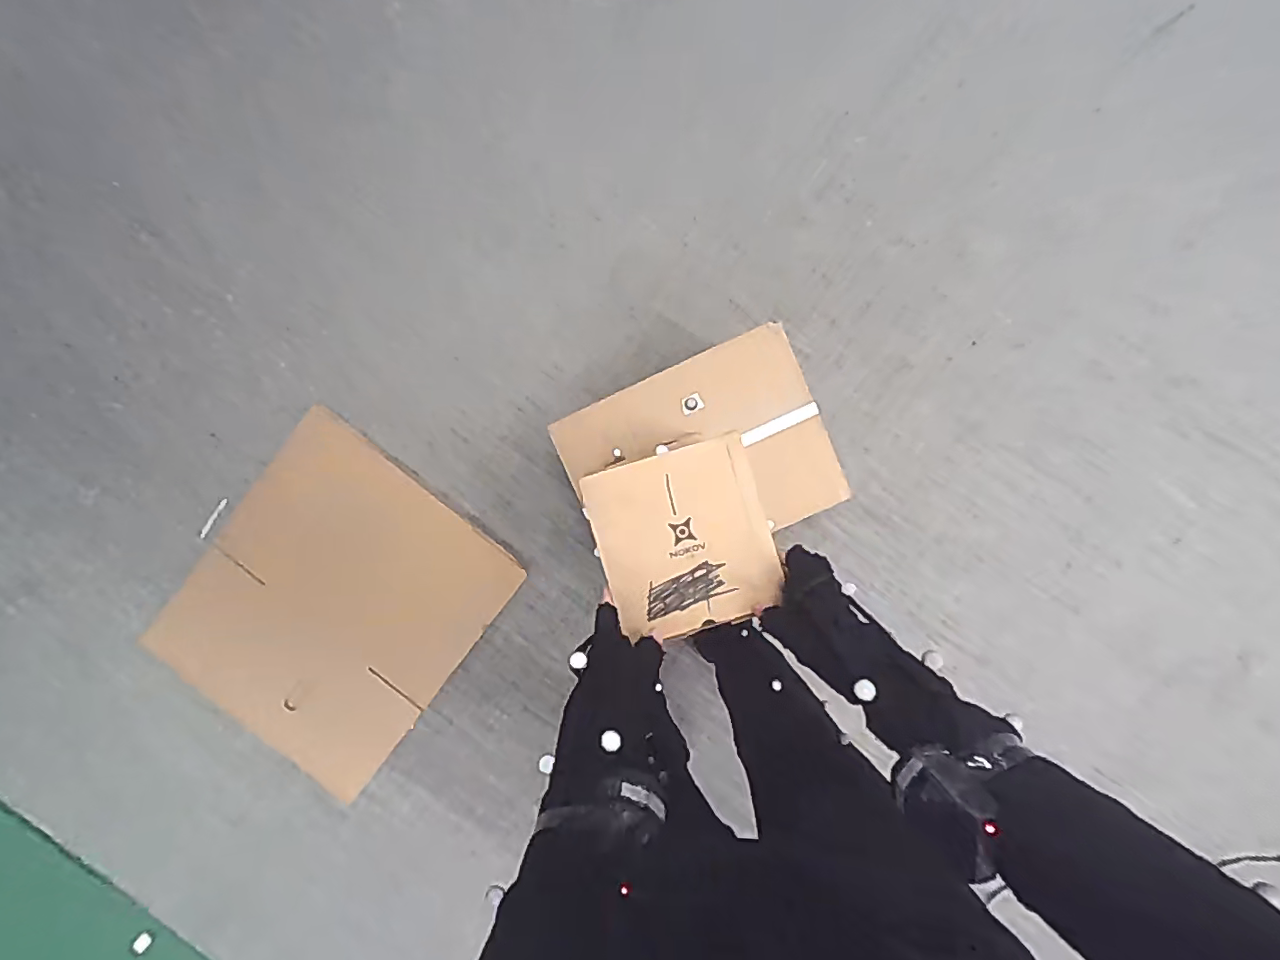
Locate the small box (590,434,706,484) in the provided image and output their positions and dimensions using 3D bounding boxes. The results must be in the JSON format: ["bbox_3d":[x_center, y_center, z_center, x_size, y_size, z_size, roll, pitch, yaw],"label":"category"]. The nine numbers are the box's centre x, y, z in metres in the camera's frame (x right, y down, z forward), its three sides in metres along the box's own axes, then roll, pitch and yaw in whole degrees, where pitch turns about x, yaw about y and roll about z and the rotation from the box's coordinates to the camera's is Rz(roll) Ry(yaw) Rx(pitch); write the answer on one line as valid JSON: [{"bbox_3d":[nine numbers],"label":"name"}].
[{"bbox_3d":[0.039,0.041,0.795,0.168,0.176,0.179,-20,94,5],"label":"small box"}]

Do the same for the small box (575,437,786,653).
[{"bbox_3d":[0.045,0.063,0.609,0.168,0.176,0.179,-21,89,3],"label":"small box"}]
